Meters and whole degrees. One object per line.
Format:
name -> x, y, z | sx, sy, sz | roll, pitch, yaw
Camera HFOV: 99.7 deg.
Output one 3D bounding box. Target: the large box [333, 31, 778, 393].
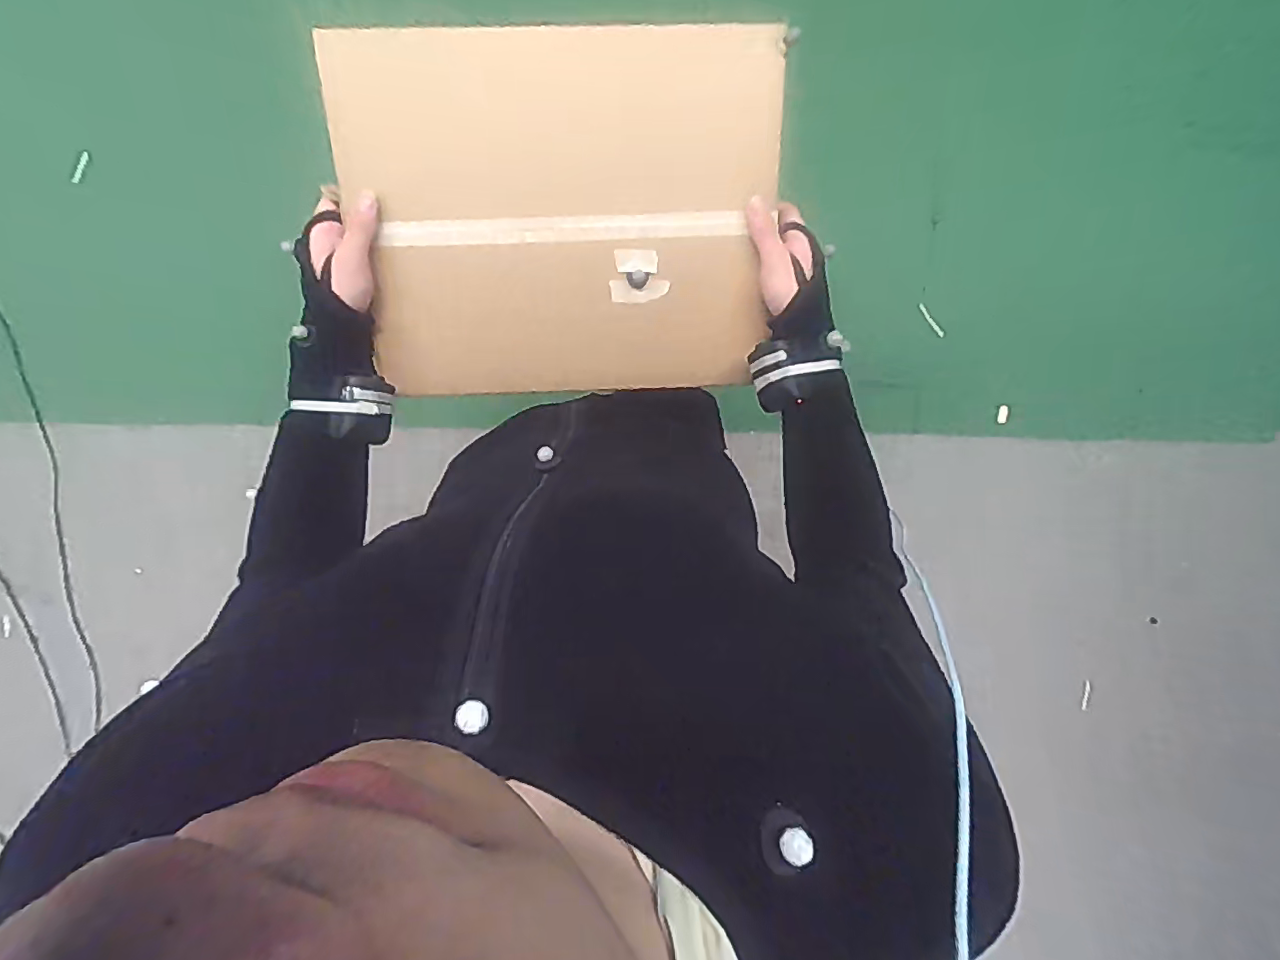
large box -> -0.077, -0.297, 0.669 | 0.408, 0.320, 0.320 | -3, 110, -3
